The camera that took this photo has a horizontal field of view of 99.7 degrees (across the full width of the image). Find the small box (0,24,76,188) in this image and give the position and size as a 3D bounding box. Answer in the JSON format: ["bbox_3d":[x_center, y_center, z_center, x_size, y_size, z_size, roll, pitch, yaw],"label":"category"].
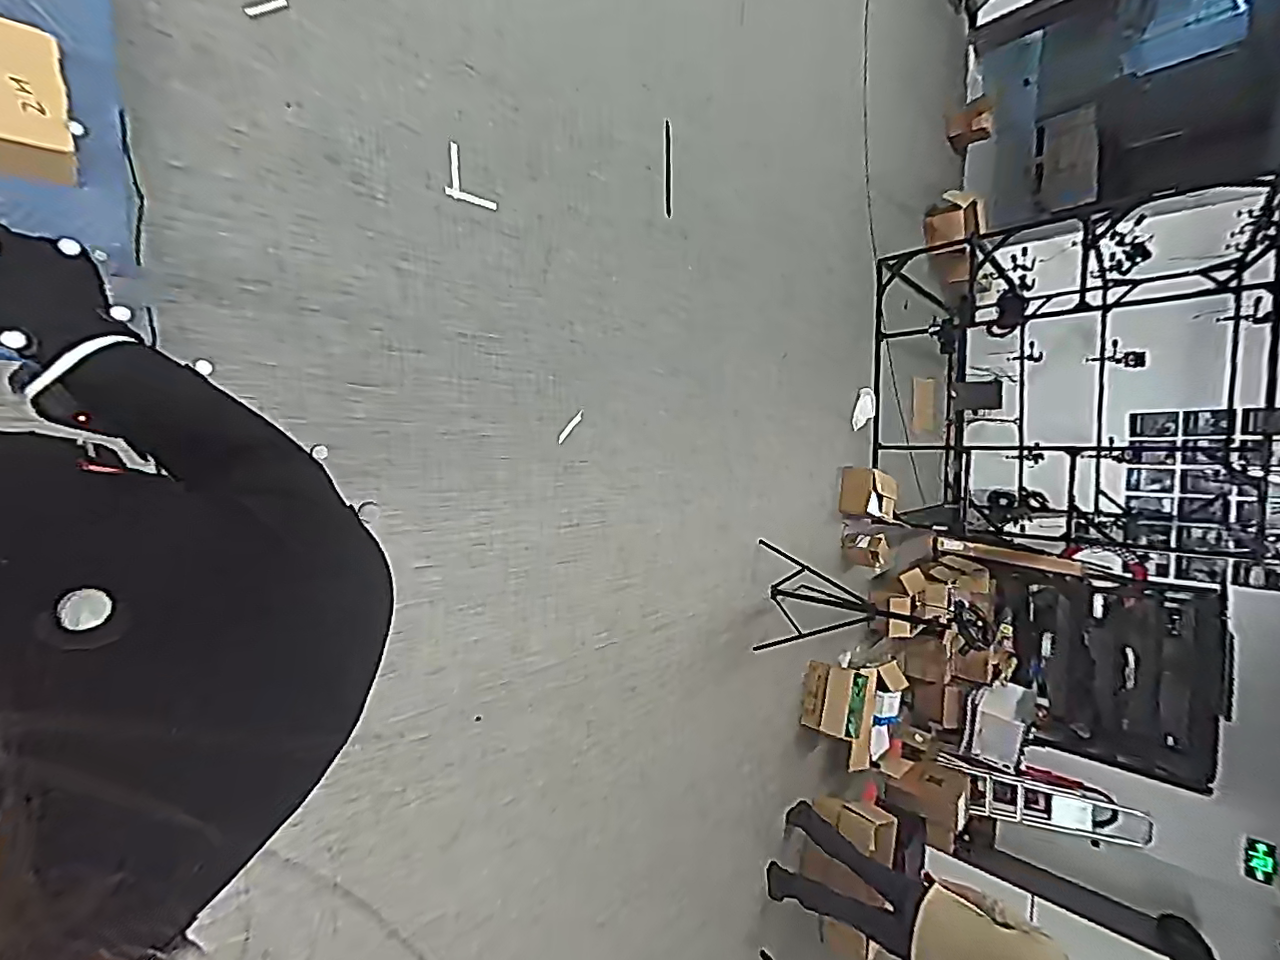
[{"bbox_3d":[-0.974,-0.560,0.801,0.179,0.176,0.168,-10,100,-46],"label":"small box"}]
